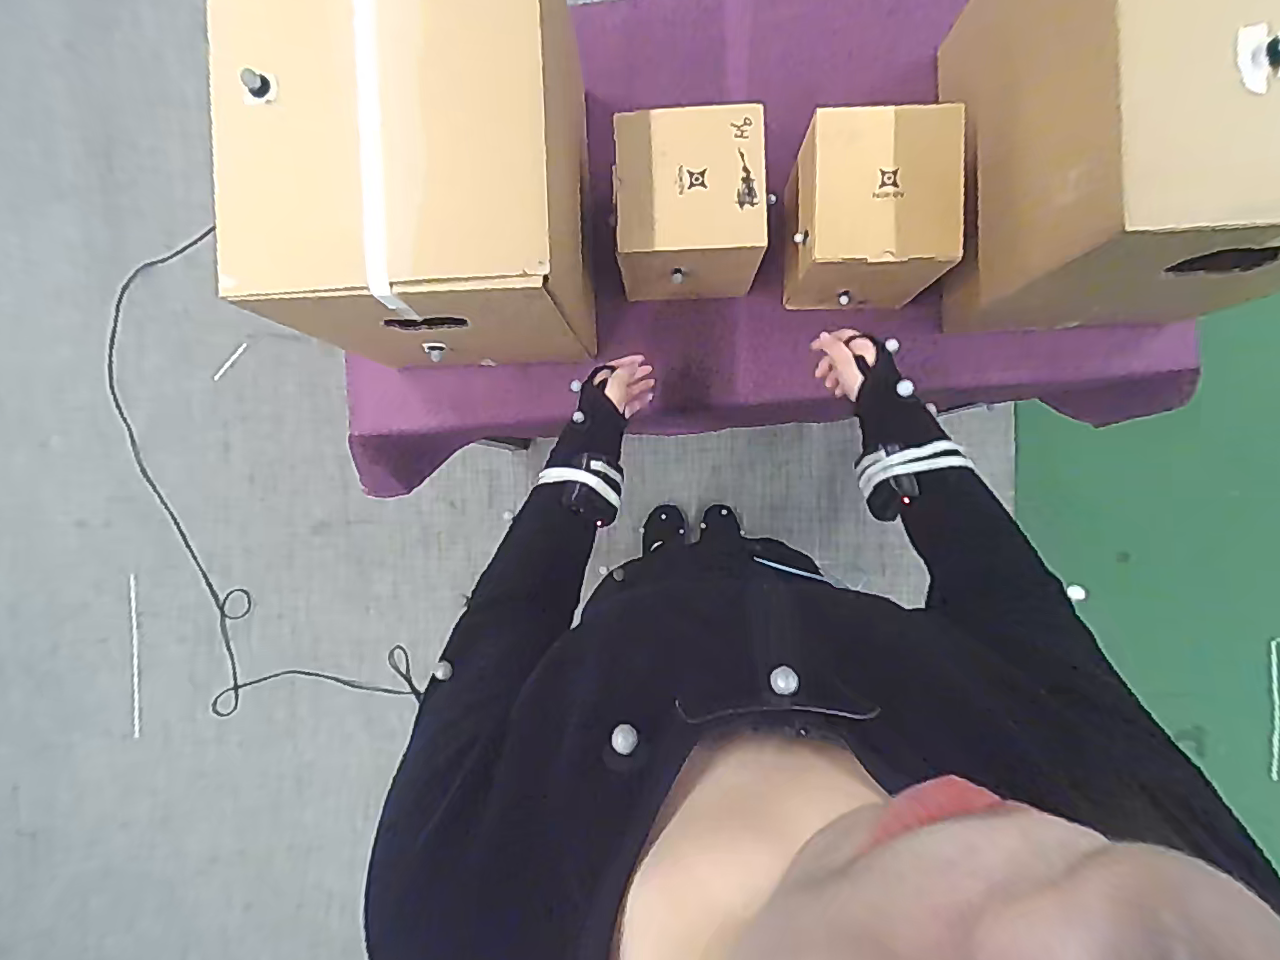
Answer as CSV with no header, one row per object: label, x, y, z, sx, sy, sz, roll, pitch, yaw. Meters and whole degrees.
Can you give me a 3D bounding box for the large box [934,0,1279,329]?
large box,0.567,-0.413,0.613,0.320,0.320,0.408,-1,90,3
